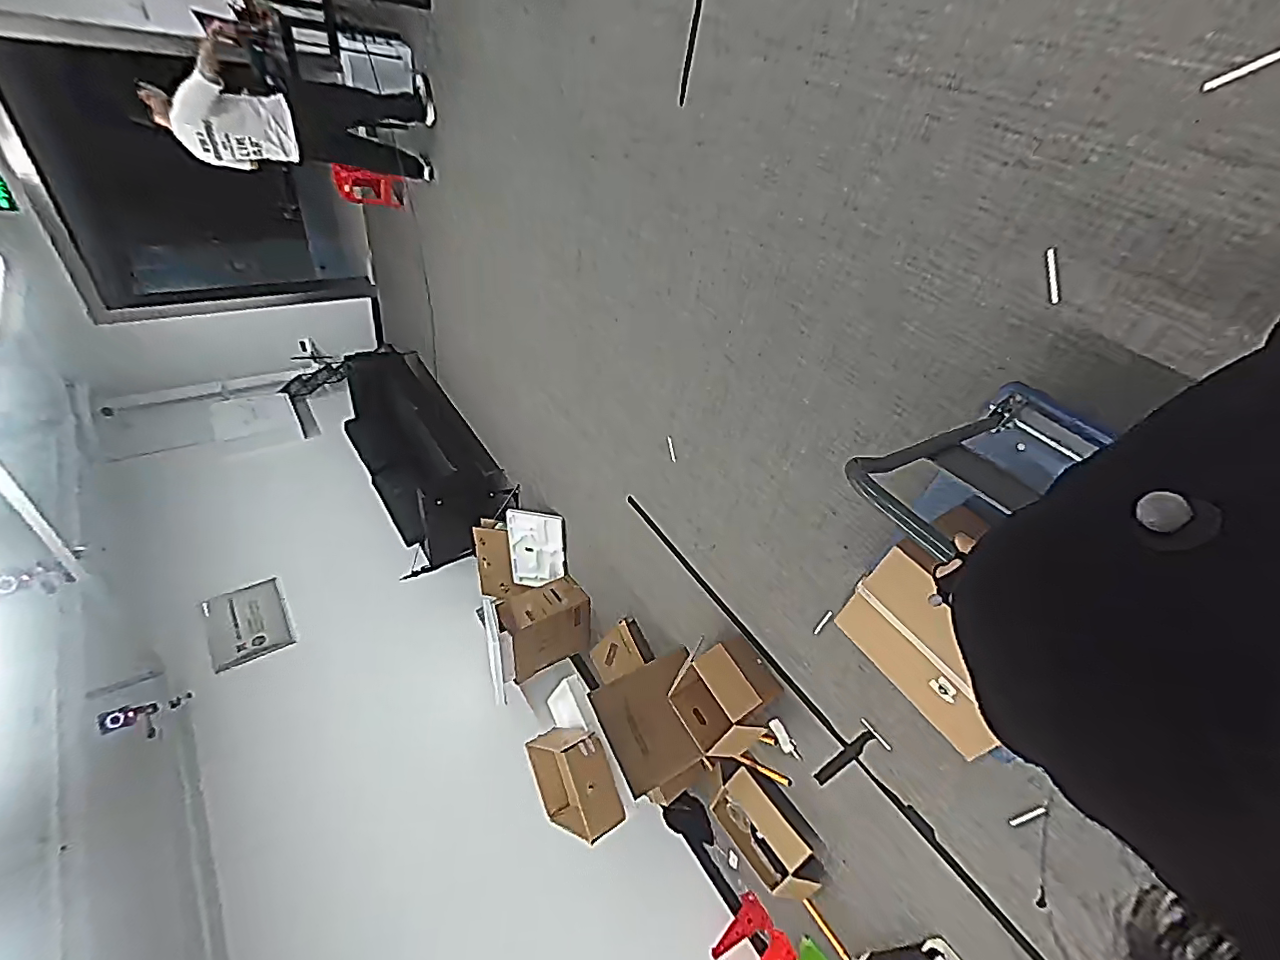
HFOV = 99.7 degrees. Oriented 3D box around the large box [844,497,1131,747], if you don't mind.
[{"bbox_3d":[0.777,0.307,1.255,0.408,0.320,0.320,48,142,31],"label":"large box"}]
